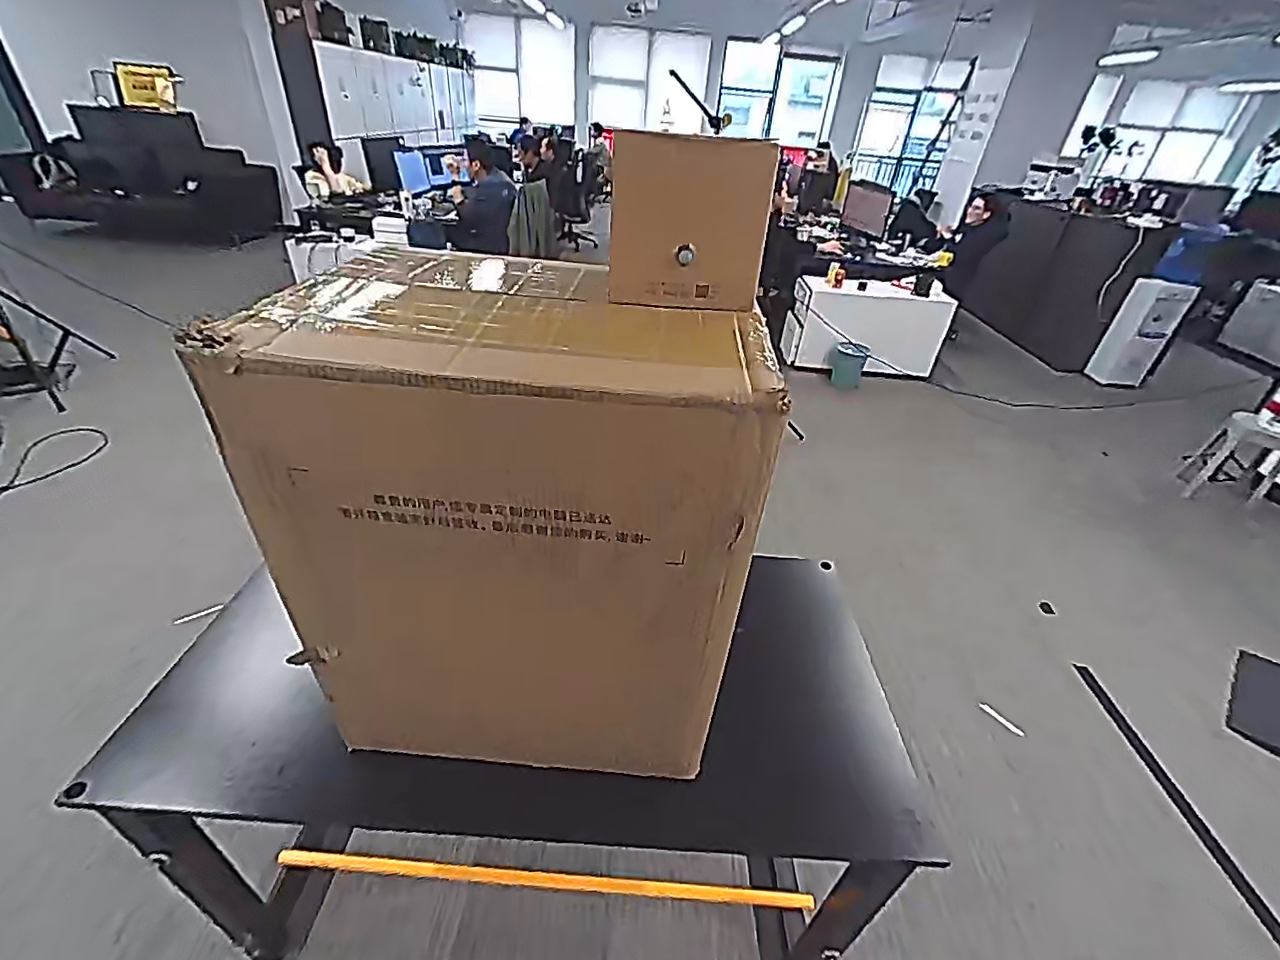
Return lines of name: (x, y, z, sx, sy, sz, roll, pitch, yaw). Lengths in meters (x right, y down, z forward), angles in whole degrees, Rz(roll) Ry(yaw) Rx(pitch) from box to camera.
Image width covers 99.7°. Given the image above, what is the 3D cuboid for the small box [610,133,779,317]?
small box: (0.053, -0.304, 0.643, 0.168, 0.176, 0.179, 3, 32, 0)
